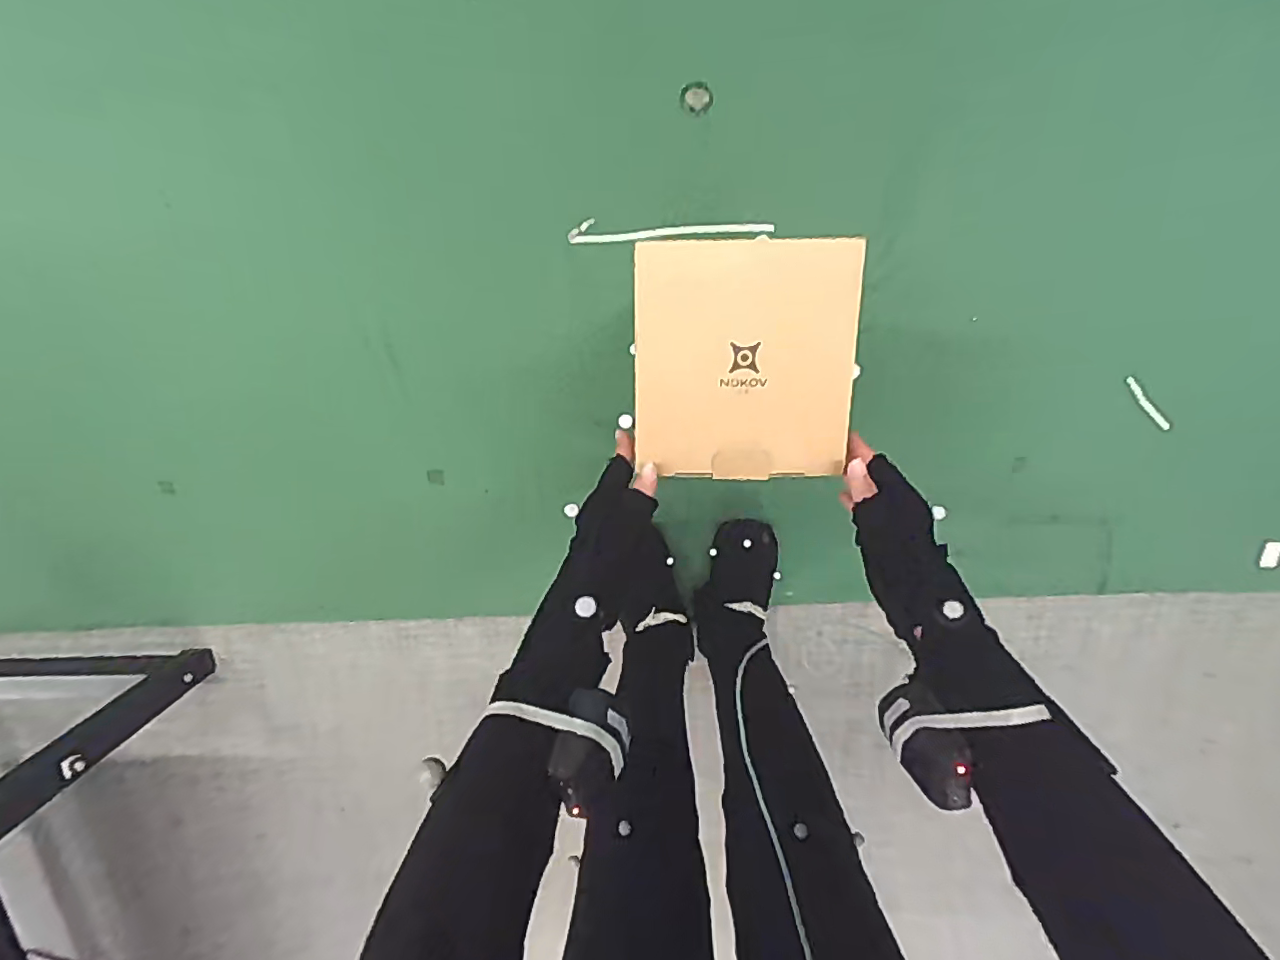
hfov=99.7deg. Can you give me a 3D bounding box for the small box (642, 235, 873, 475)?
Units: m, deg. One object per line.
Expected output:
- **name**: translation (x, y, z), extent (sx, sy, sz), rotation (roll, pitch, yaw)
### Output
- **small box**: translation (0.085, -0.109, 0.480), extent (0.168, 0.176, 0.179), rotation (0, 106, 1)
